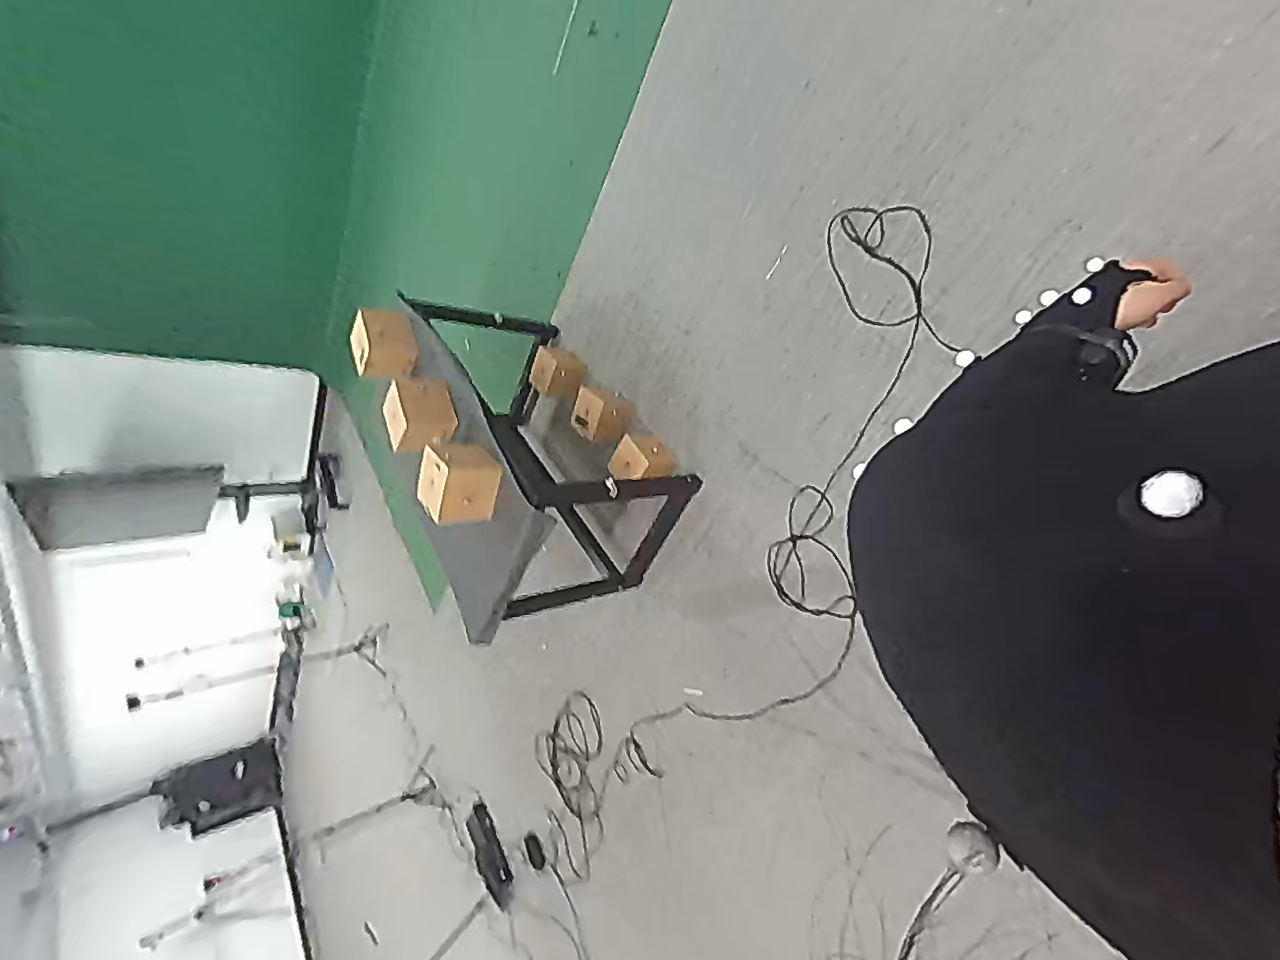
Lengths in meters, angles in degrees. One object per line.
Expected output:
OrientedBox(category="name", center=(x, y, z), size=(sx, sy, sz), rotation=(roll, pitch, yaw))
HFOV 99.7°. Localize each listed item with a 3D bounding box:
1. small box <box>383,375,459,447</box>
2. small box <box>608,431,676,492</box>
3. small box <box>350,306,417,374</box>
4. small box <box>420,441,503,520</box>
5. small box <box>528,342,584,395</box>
OrientedBox(category="small box", center=(-0.718, -0.224, 1.775), size=(0.168, 0.176, 0.179), rotation=(-42, 65, 43))
OrientedBox(category="small box", center=(0.014, -0.075, 2.080), size=(0.168, 0.176, 0.179), rotation=(53, 128, 29))
OrientedBox(category="small box", center=(-0.928, -0.503, 1.962), size=(0.168, 0.176, 0.179), rotation=(-40, 66, 43))
OrientedBox(category="small box", center=(-0.524, -0.004, 1.589), size=(0.168, 0.176, 0.179), rotation=(36, 118, 38))
OrientedBox(category="small box", center=(-0.373, -0.500, 2.443), size=(0.168, 0.176, 0.179), rotation=(45, 123, 35))
